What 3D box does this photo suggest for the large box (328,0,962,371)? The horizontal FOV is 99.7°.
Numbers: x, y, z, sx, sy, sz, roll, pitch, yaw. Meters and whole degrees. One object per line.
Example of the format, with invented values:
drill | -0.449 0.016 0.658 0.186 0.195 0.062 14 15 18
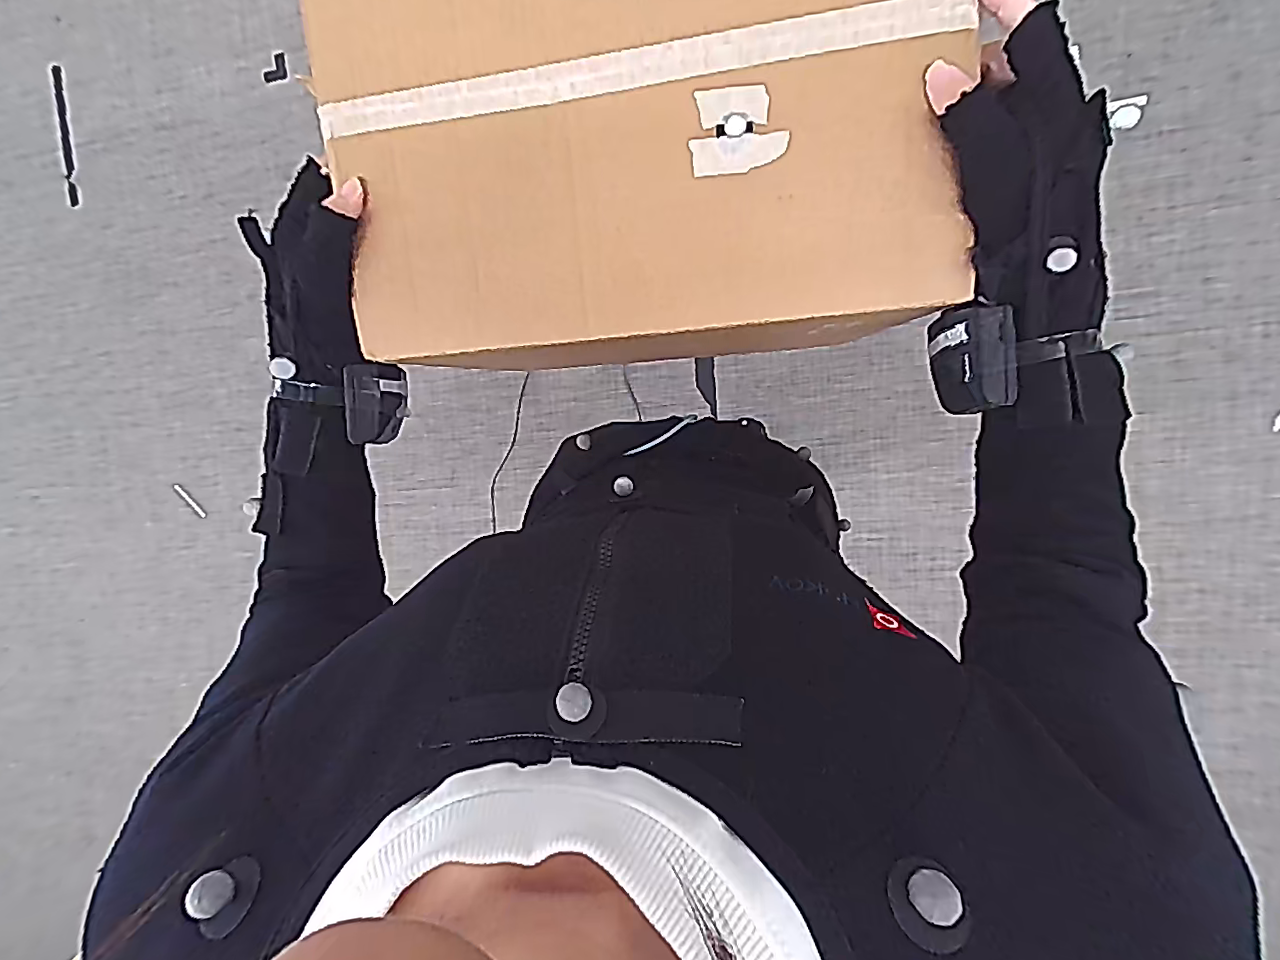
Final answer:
large box | 0.010 -0.281 0.493 0.408 0.320 0.320 -4 100 8
